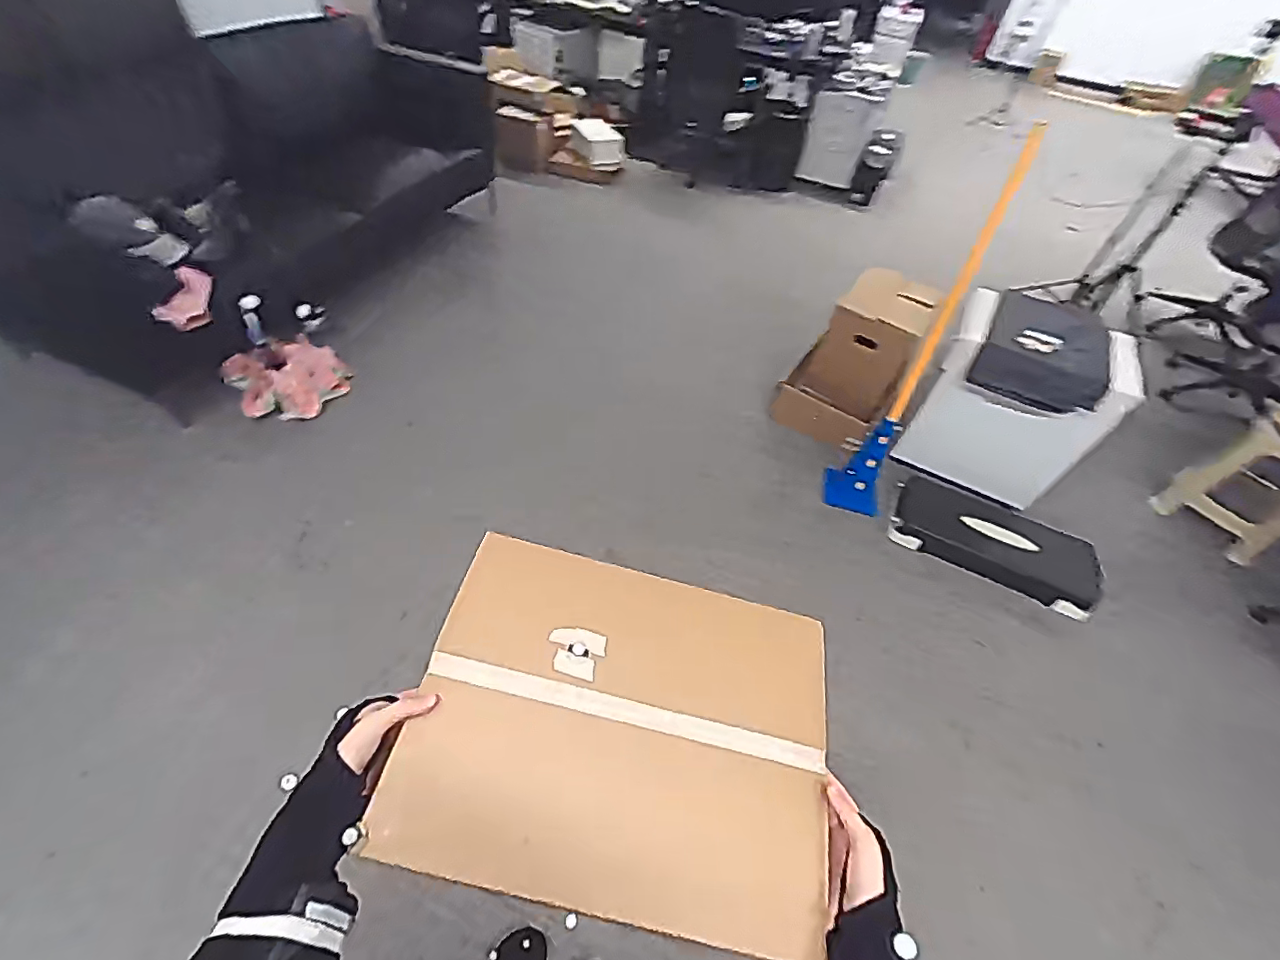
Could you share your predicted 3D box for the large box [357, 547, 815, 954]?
[{"bbox_3d":[-0.041,0.326,0.662,0.408,0.320,0.320,14,51,-1],"label":"large box"}]
